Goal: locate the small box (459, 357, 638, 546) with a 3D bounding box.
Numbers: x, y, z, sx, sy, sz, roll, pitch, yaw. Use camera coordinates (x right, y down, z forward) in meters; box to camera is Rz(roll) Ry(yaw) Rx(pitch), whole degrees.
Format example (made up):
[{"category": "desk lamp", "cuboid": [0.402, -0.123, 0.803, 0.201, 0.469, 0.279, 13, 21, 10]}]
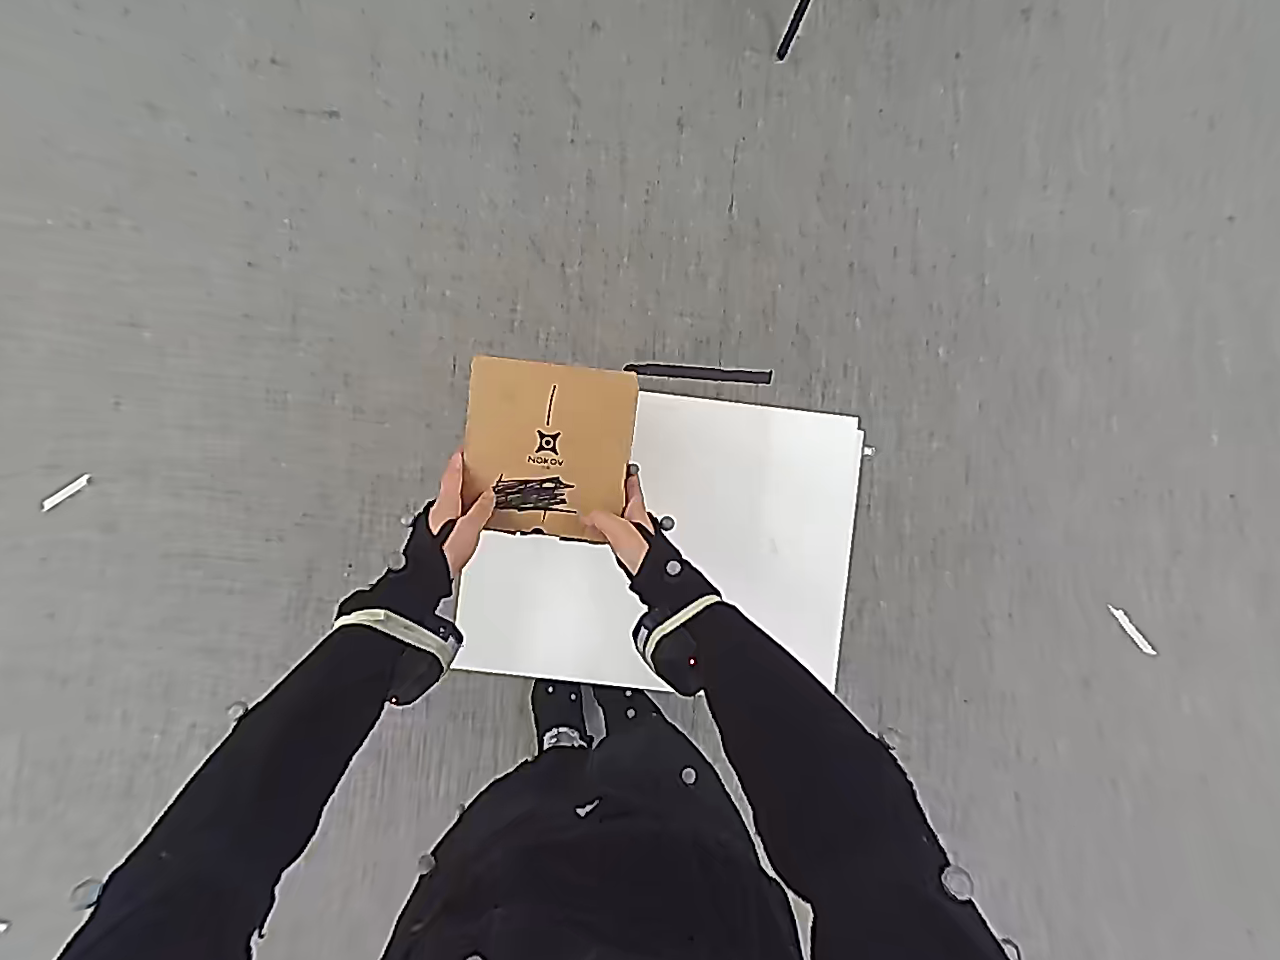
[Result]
[{"category": "small box", "cuboid": [-0.093, -0.033, 0.622, 0.168, 0.176, 0.179, 6, 93, 0]}]
